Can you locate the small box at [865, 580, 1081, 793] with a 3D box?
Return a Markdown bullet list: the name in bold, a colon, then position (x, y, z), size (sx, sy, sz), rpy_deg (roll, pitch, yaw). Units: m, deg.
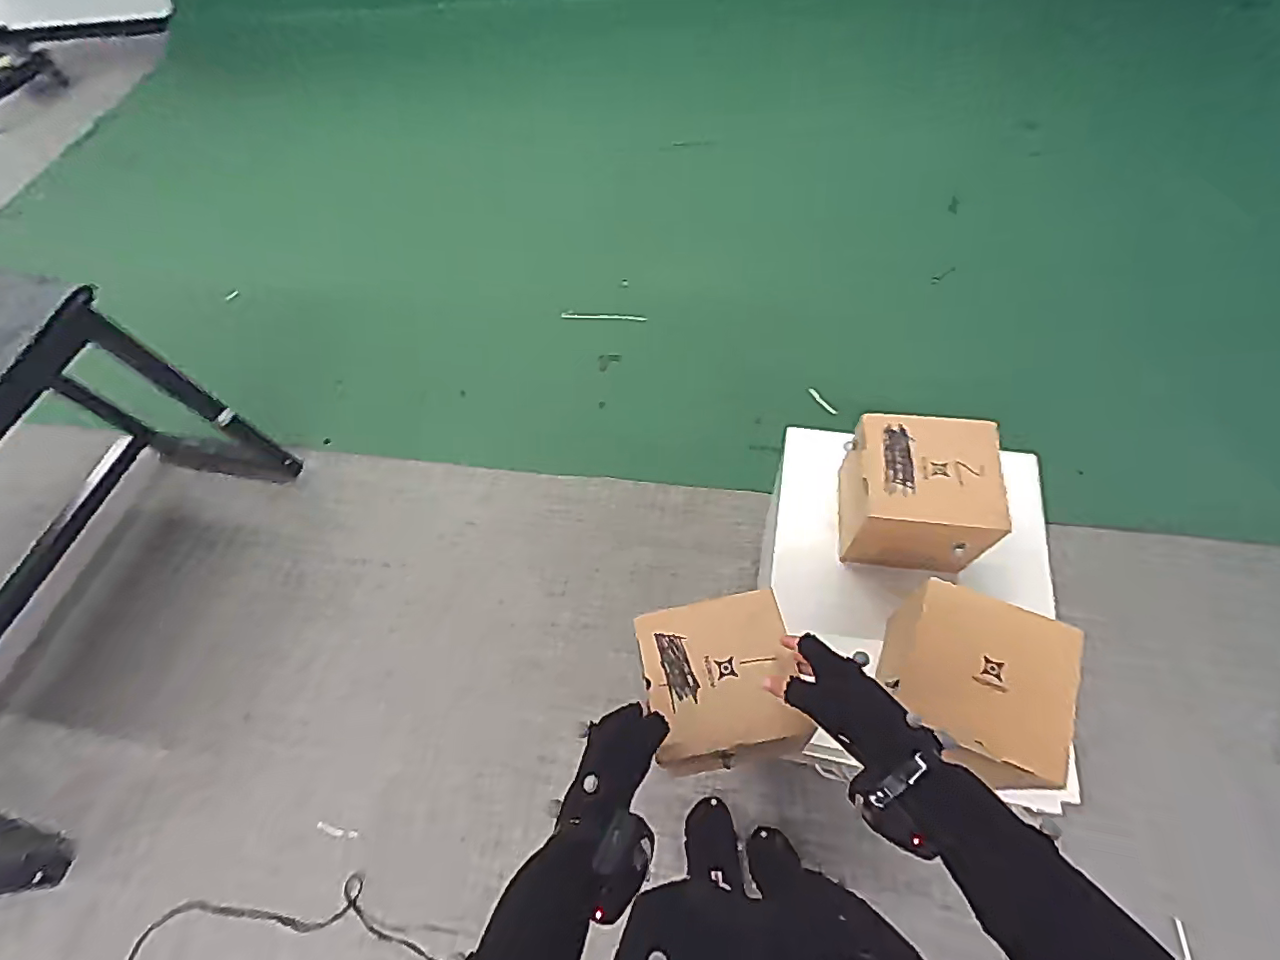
- **small box**: position (0.395, 0.255, 0.665), size (0.168, 0.176, 0.179), rpy_deg (19, 65, 17)
